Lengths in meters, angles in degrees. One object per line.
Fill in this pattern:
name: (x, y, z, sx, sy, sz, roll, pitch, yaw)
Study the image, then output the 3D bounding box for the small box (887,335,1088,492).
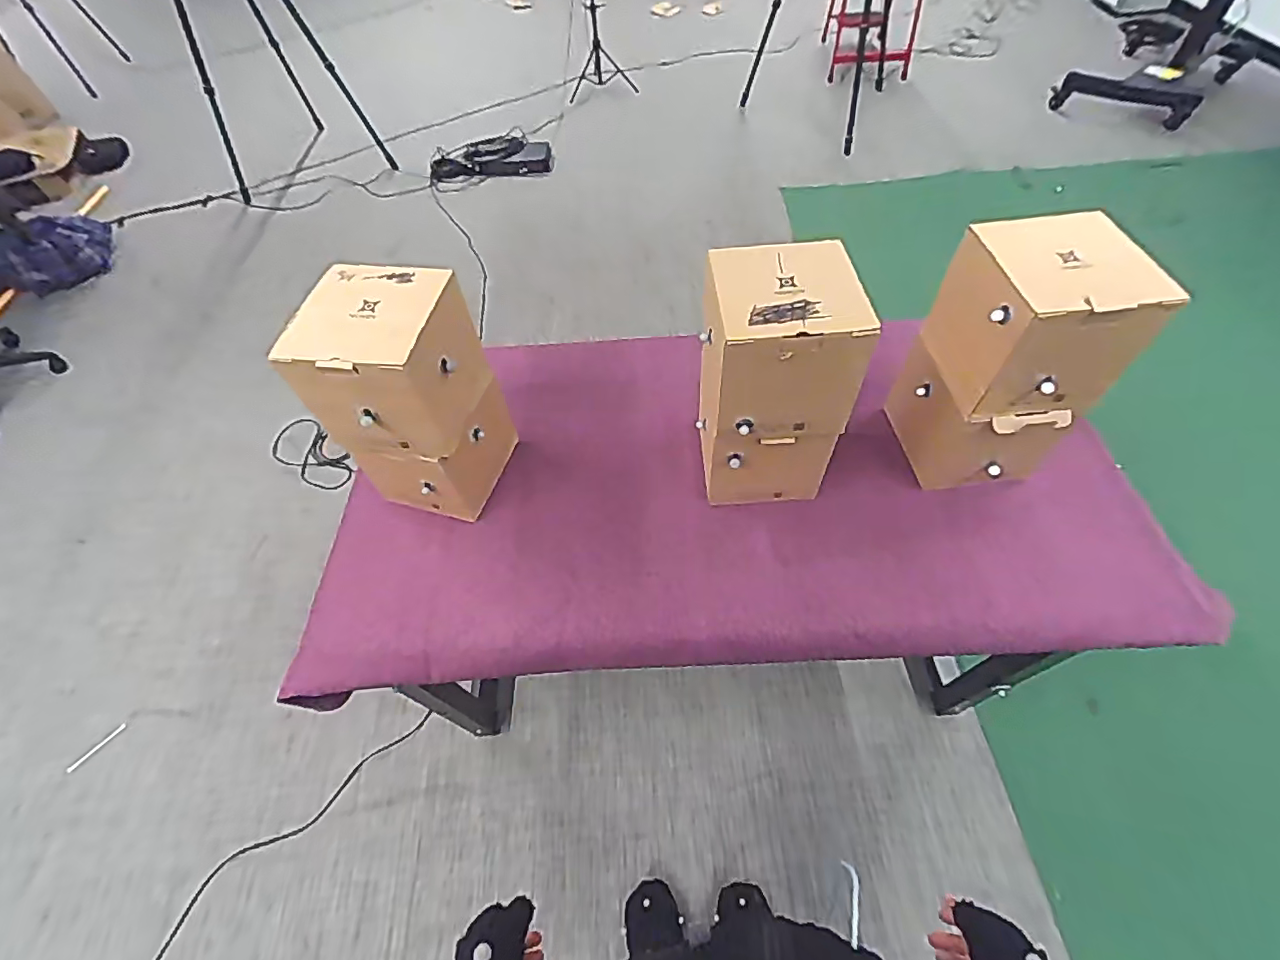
small box: (0.501, -0.104, 0.816, 0.168, 0.176, 0.179, -7, 56, 0)

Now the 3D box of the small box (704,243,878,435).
small box: (0.173, -0.169, 0.681, 0.168, 0.176, 0.179, -4, 54, 1)

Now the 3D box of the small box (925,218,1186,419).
small box: (0.495, -0.200, 0.684, 0.168, 0.176, 0.179, -6, 56, 0)

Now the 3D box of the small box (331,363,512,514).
small box: (-0.314, -0.070, 0.825, 0.168, 0.176, 0.179, 13, 57, 11)

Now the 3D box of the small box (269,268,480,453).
small box: (-0.321, -0.150, 0.704, 0.168, 0.176, 0.179, 2, 56, 5)
